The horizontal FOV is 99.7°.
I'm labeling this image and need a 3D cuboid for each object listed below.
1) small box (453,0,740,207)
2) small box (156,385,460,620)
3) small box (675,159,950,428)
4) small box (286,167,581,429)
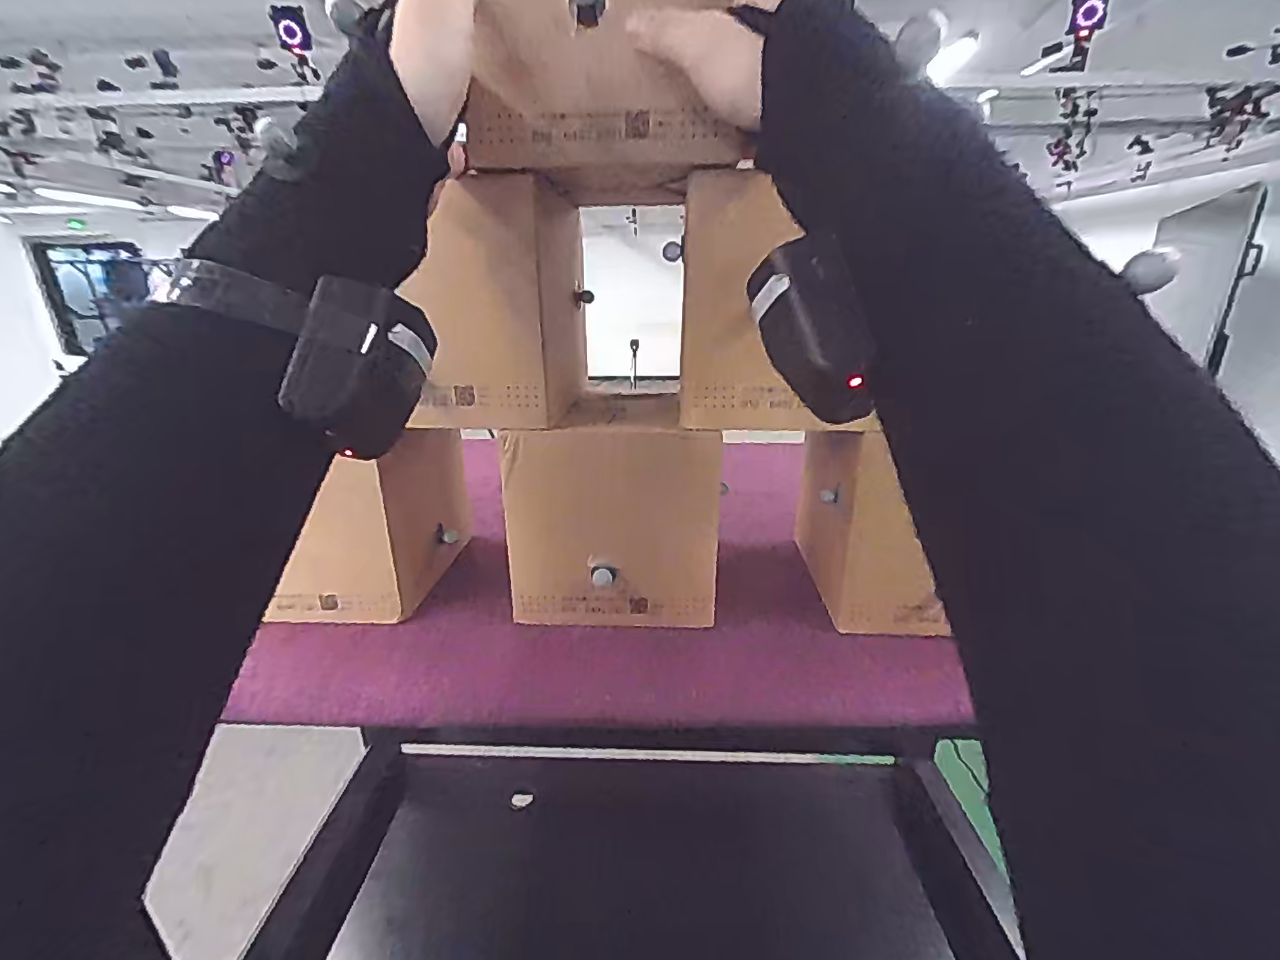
[{"bbox_3d":[-0.019,-0.295,0.374,0.168,0.176,0.179,1,19,4],"label":"small box"},{"bbox_3d":[-0.275,0.009,0.498,0.168,0.176,0.179,0,18,2],"label":"small box"},{"bbox_3d":[0.113,-0.140,0.432,0.168,0.176,0.179,1,19,3],"label":"small box"},{"bbox_3d":[-0.143,-0.145,0.446,0.168,0.176,0.179,1,20,4],"label":"small box"}]
